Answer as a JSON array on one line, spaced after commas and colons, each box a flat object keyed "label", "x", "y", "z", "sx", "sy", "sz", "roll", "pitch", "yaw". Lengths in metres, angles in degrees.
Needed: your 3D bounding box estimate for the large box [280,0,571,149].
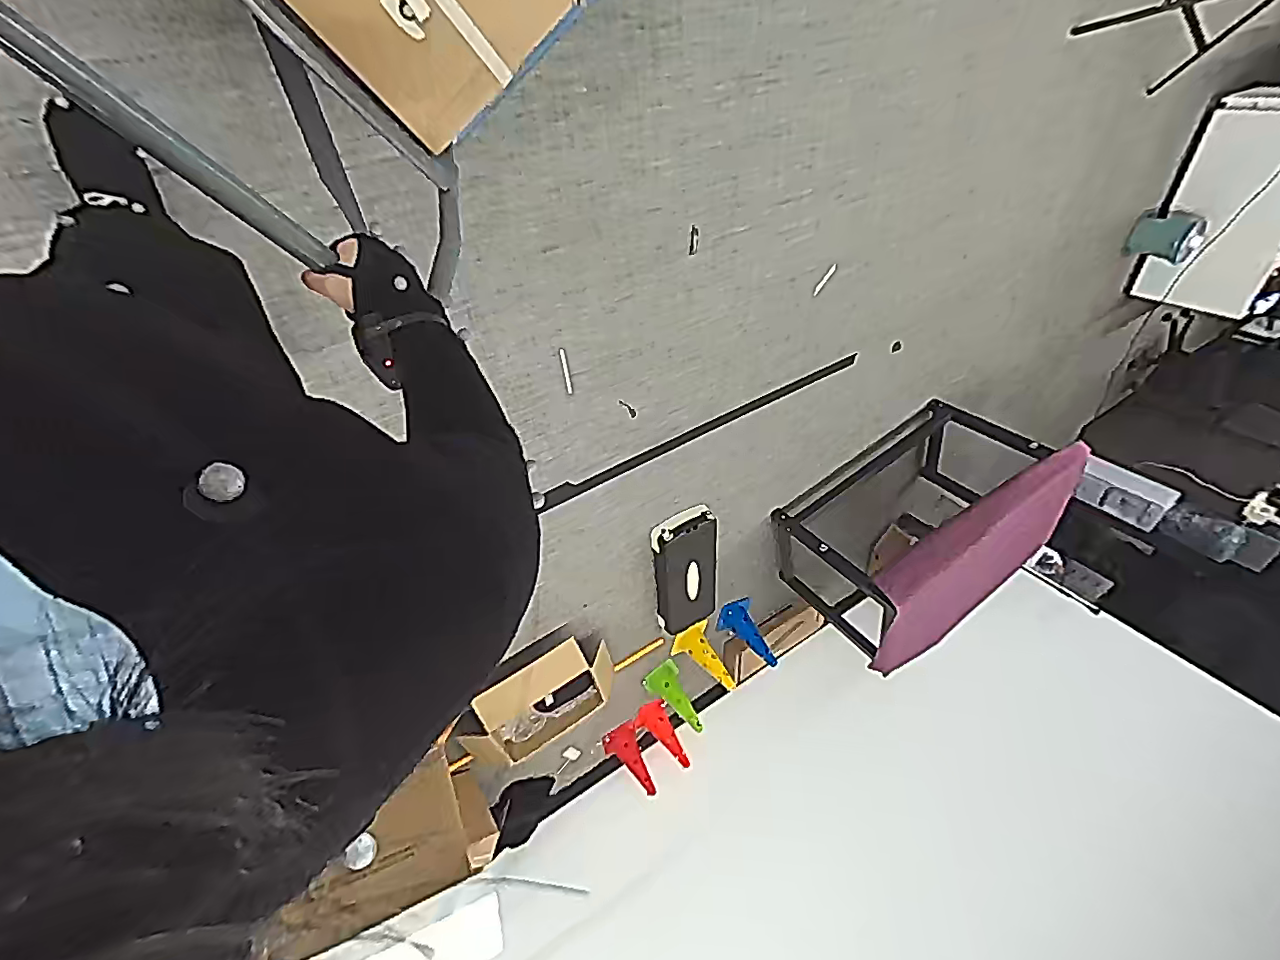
[{"label": "large box", "x": -0.364, "y": -0.787, "z": 0.757, "sx": 0.320, "sy": 0.320, "sz": 0.408, "roll": -36, "pitch": 139, "yaw": 16}]
